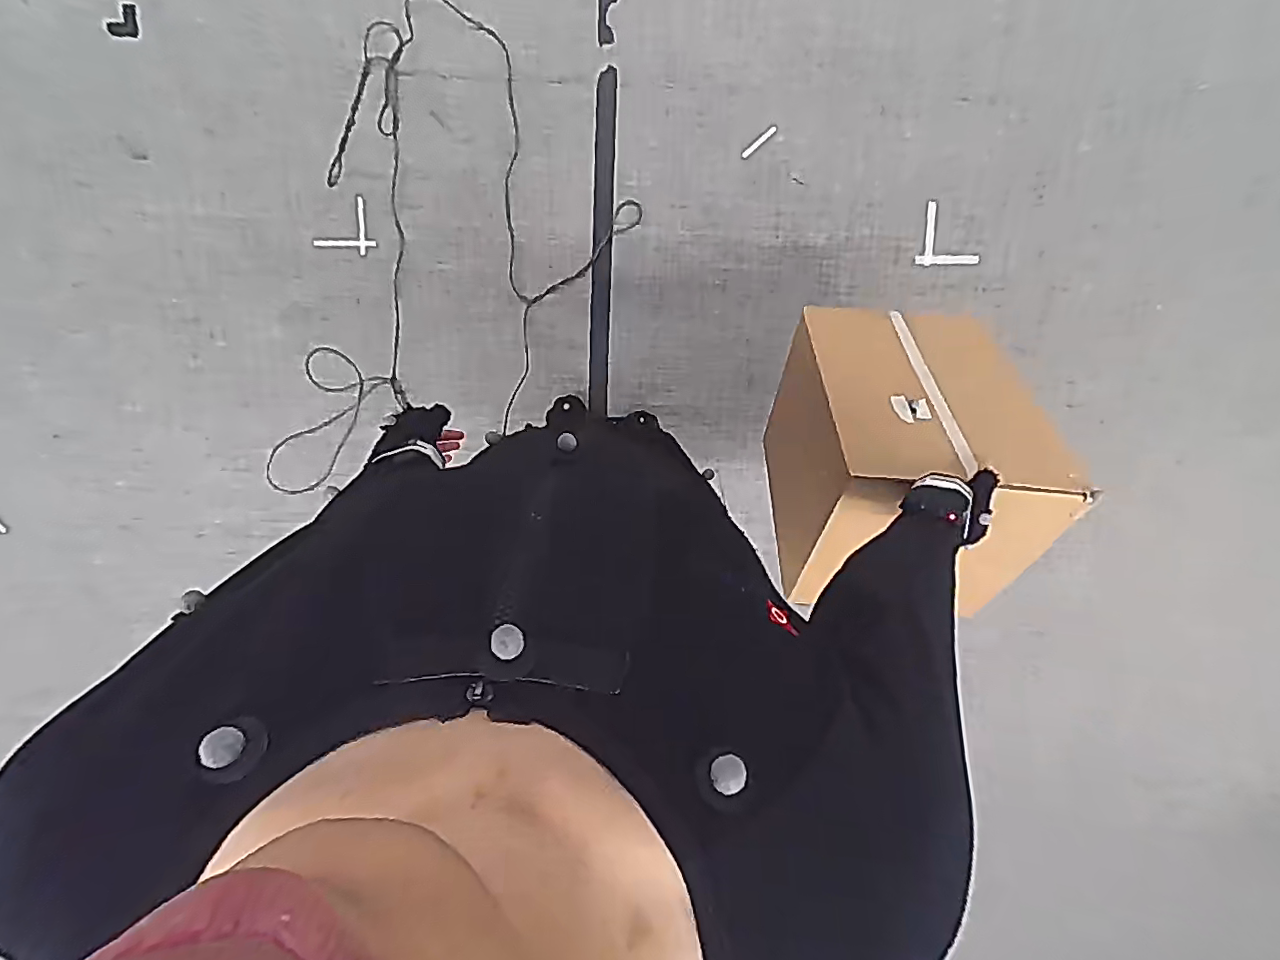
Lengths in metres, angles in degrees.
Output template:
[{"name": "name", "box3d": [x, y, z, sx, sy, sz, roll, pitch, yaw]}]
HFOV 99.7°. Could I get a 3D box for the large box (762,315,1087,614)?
[{"name": "large box", "box3d": [0.418, -0.030, 0.930, 0.320, 0.408, 0.320, 4, 139, -1]}]
